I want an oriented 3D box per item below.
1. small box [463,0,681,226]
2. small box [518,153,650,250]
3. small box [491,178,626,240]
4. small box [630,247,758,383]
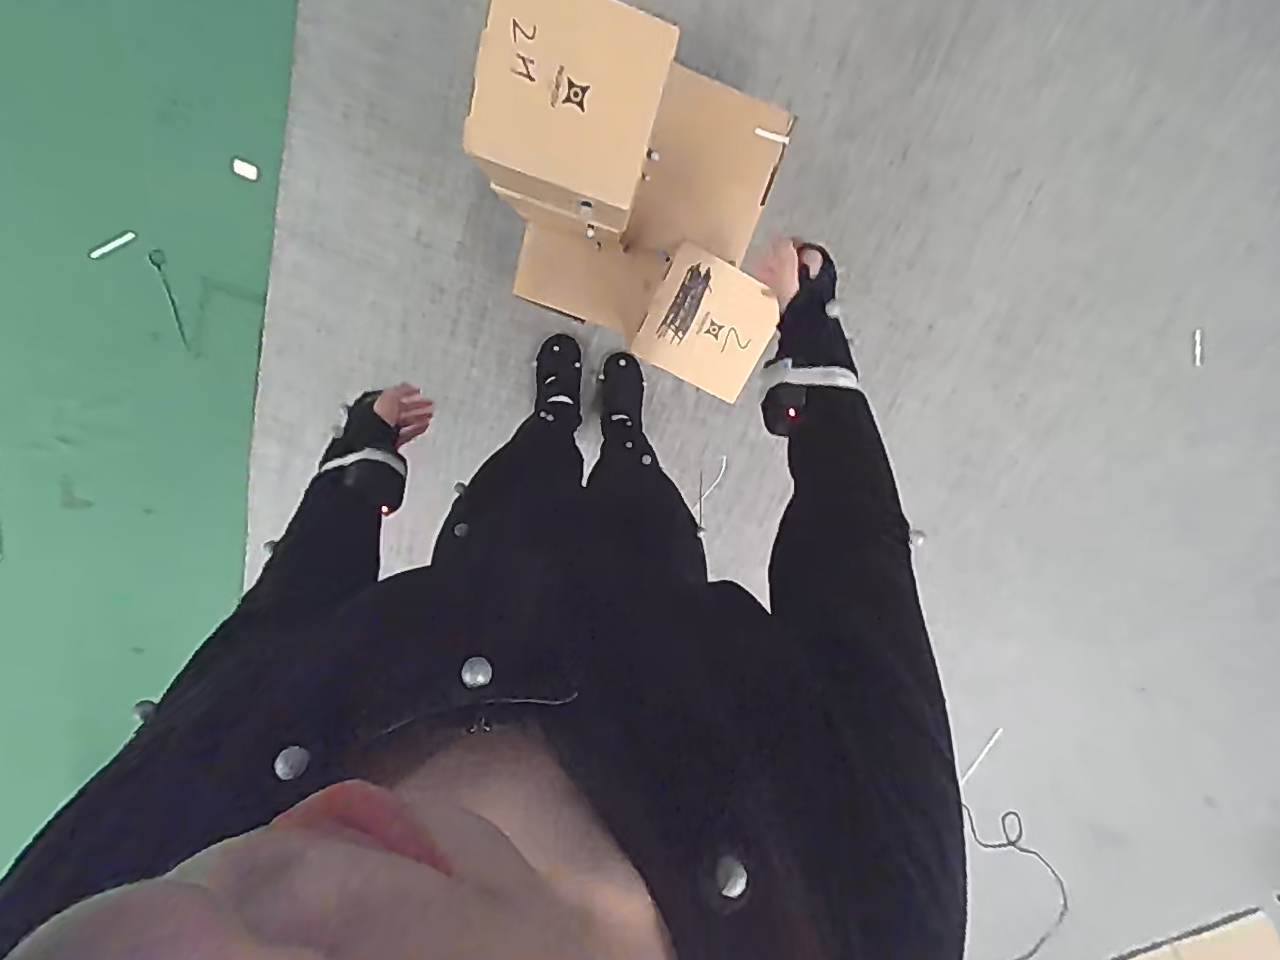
[{"bbox_3d":[-0.071,-0.396,0.596,0.179,0.176,0.168,17,106,-8],"label":"small box"},{"bbox_3d":[-0.089,-0.496,0.907,0.179,0.176,0.168,15,107,-7],"label":"small box"},{"bbox_3d":[-0.088,-0.448,0.752,0.179,0.176,0.168,15,107,-9],"label":"small box"},{"bbox_3d":[0.086,-0.300,0.982,0.168,0.176,0.179,21,107,-10],"label":"small box"}]
